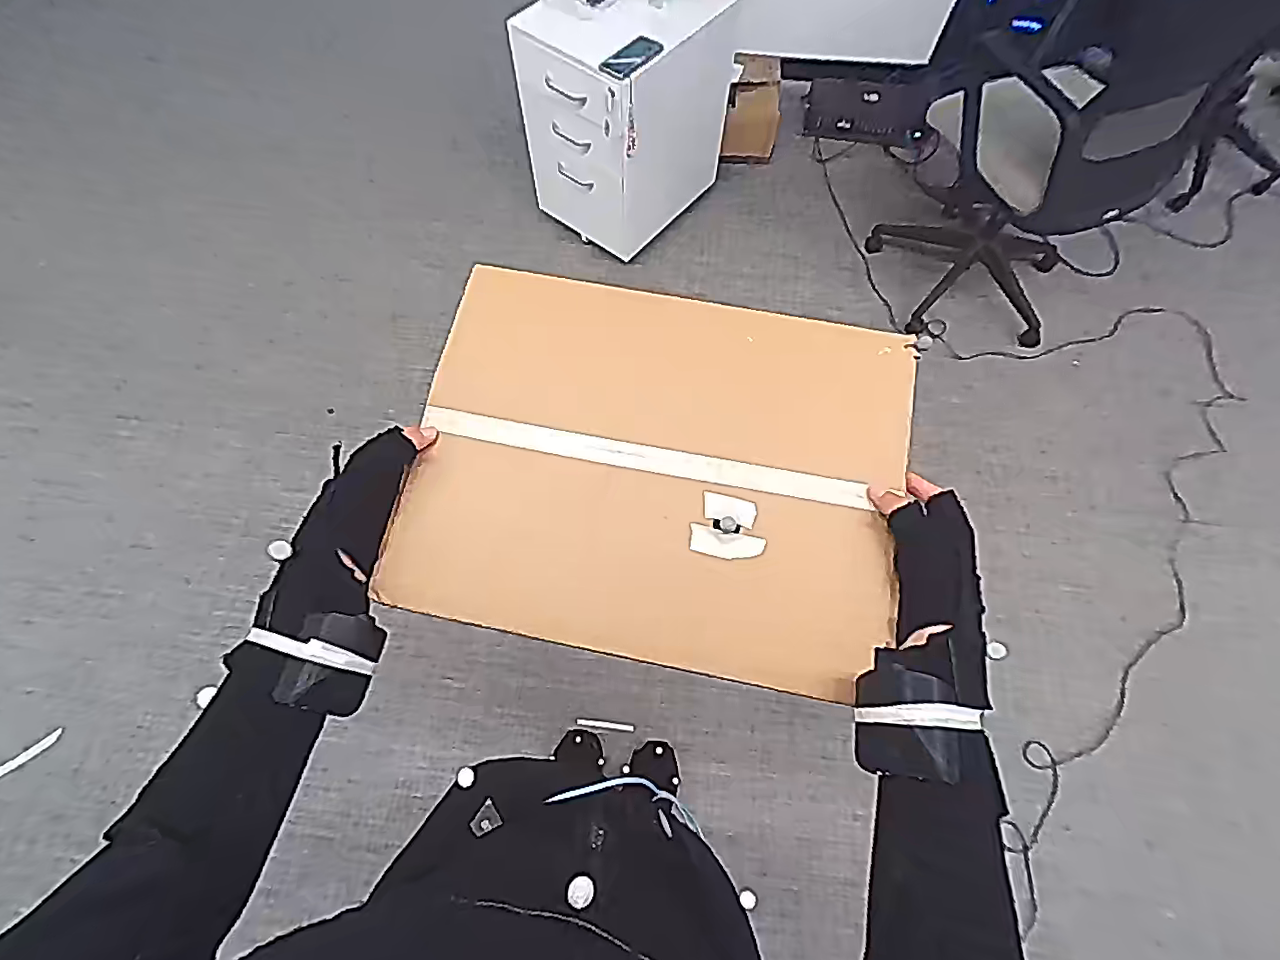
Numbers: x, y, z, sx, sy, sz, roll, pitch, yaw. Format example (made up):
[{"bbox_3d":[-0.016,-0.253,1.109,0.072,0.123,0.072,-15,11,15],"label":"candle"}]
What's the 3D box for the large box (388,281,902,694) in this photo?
[{"bbox_3d":[0.016,0.027,0.606,0.408,0.320,0.320,11,76,3],"label":"large box"}]
